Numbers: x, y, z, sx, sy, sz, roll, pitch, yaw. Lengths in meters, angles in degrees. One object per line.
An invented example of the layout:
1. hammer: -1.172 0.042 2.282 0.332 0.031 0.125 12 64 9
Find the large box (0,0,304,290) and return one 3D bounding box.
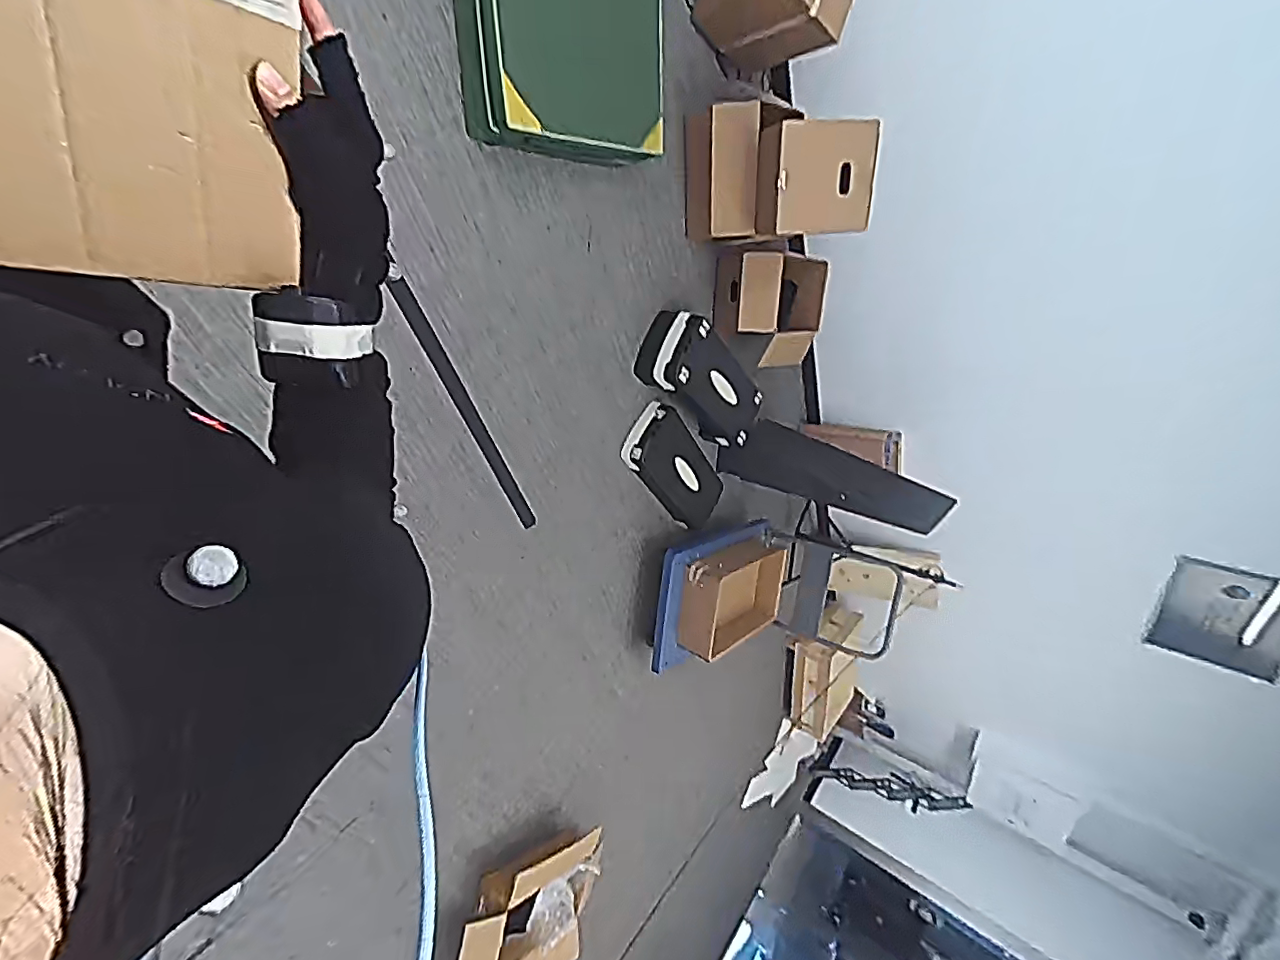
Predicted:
1. large box: -0.438 -0.308 0.263 0.408 0.320 0.320 -11 129 -43
